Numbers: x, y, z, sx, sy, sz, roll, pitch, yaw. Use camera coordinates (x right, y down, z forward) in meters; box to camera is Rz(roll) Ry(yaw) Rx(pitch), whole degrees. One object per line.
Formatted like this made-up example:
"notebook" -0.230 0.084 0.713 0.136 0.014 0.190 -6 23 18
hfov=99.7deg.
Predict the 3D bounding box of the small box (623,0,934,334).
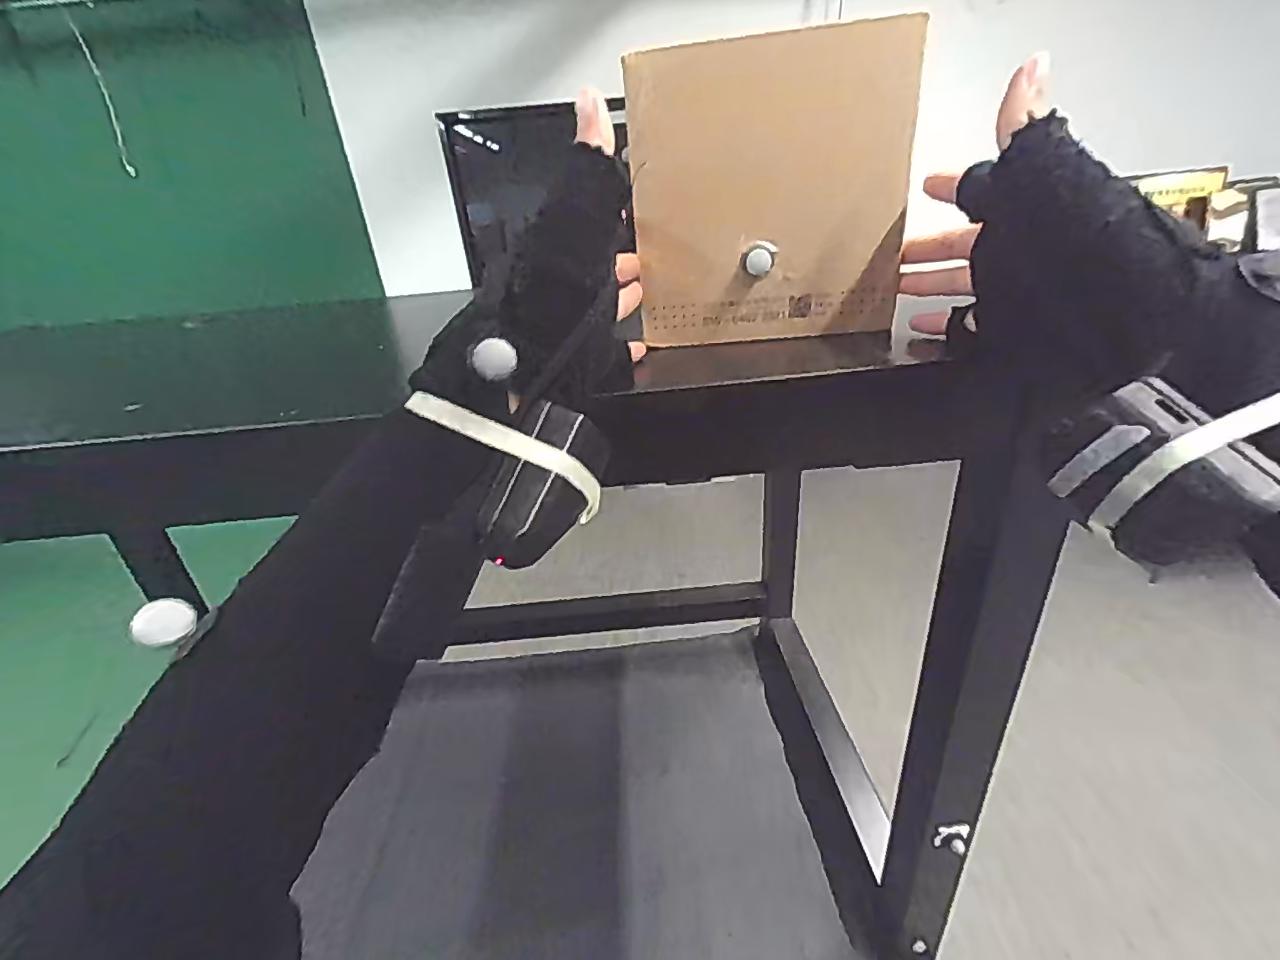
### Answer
"small box" 0.085 -0.208 0.395 0.168 0.176 0.179 -3 27 7
